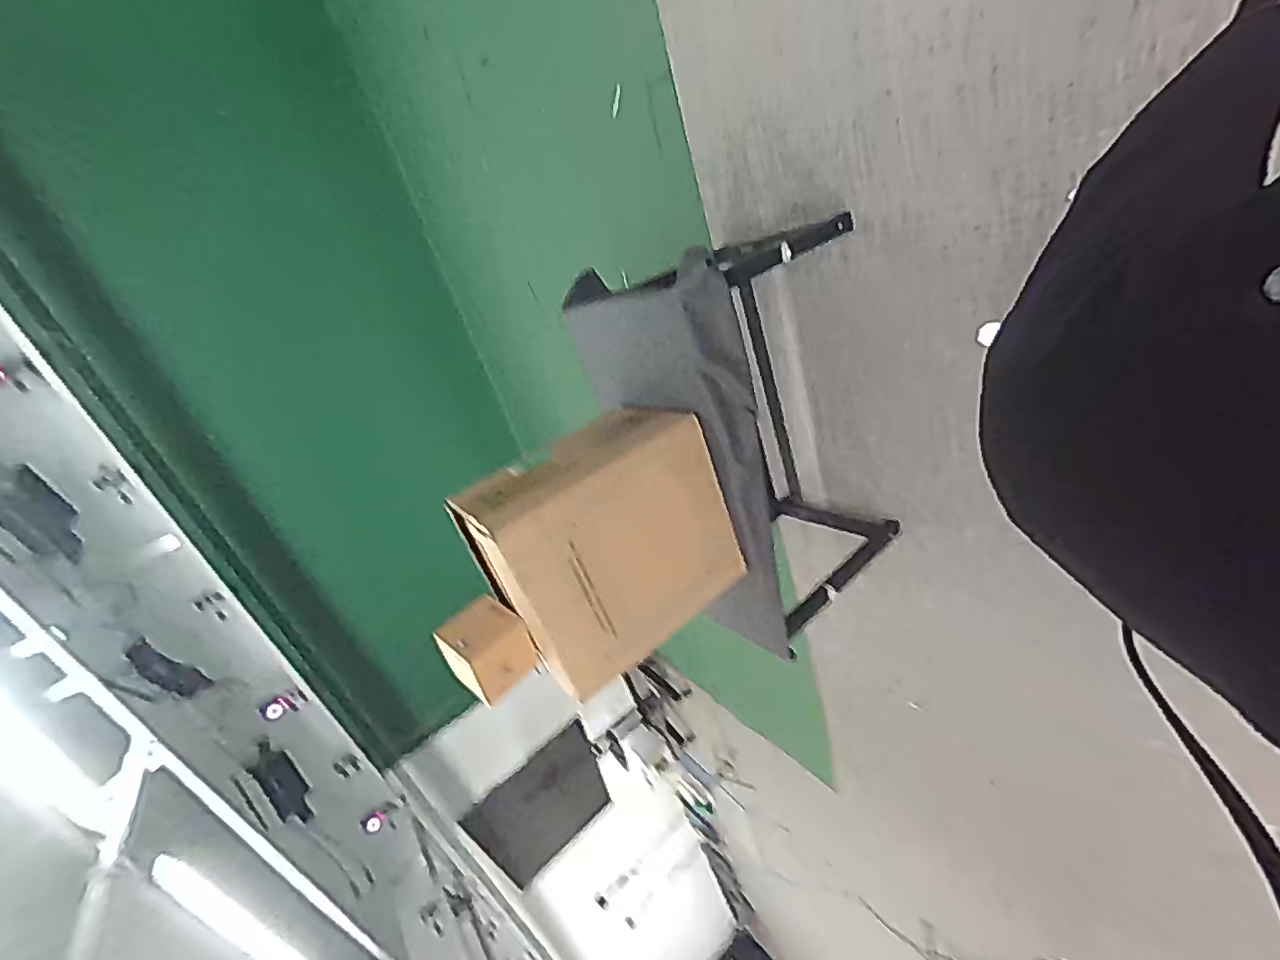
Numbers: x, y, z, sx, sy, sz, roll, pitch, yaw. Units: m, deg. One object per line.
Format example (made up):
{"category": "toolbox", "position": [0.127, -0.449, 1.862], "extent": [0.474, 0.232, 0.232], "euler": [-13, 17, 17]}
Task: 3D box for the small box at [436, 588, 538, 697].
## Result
{"category": "small box", "position": [-0.394, 0.420, 1.420], "extent": [0.168, 0.176, 0.179], "euler": [19, 134, 37]}
